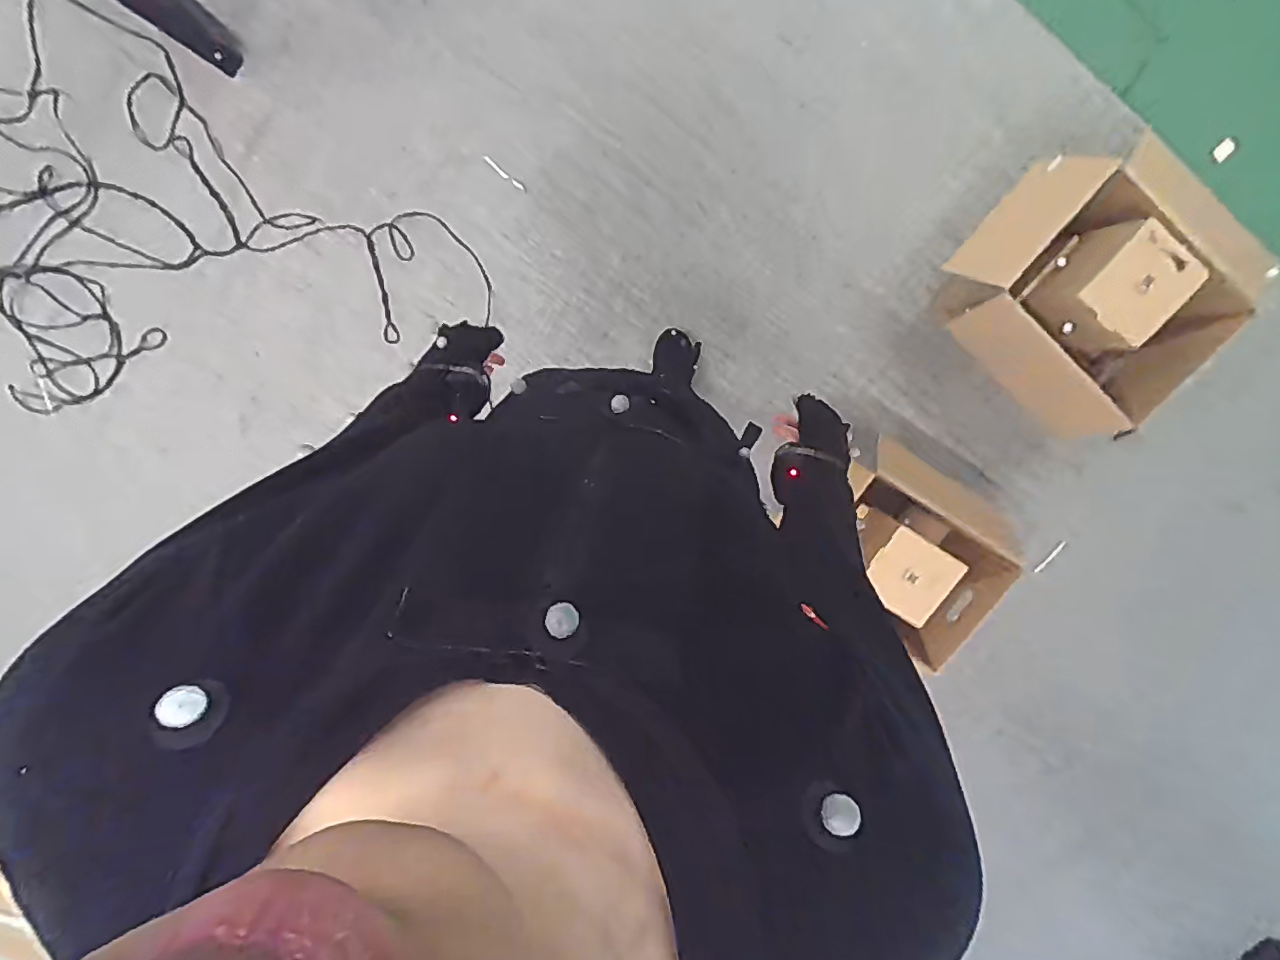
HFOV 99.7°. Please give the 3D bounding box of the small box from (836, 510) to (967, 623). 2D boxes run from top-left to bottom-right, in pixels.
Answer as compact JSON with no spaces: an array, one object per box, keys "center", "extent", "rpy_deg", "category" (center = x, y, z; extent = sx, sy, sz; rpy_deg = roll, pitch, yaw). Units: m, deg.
[{"center":[0.575,0.183,1.218],"extent":[0.179,0.176,0.168],"rpy_deg":[33,102,-3],"category":"small box"}]
